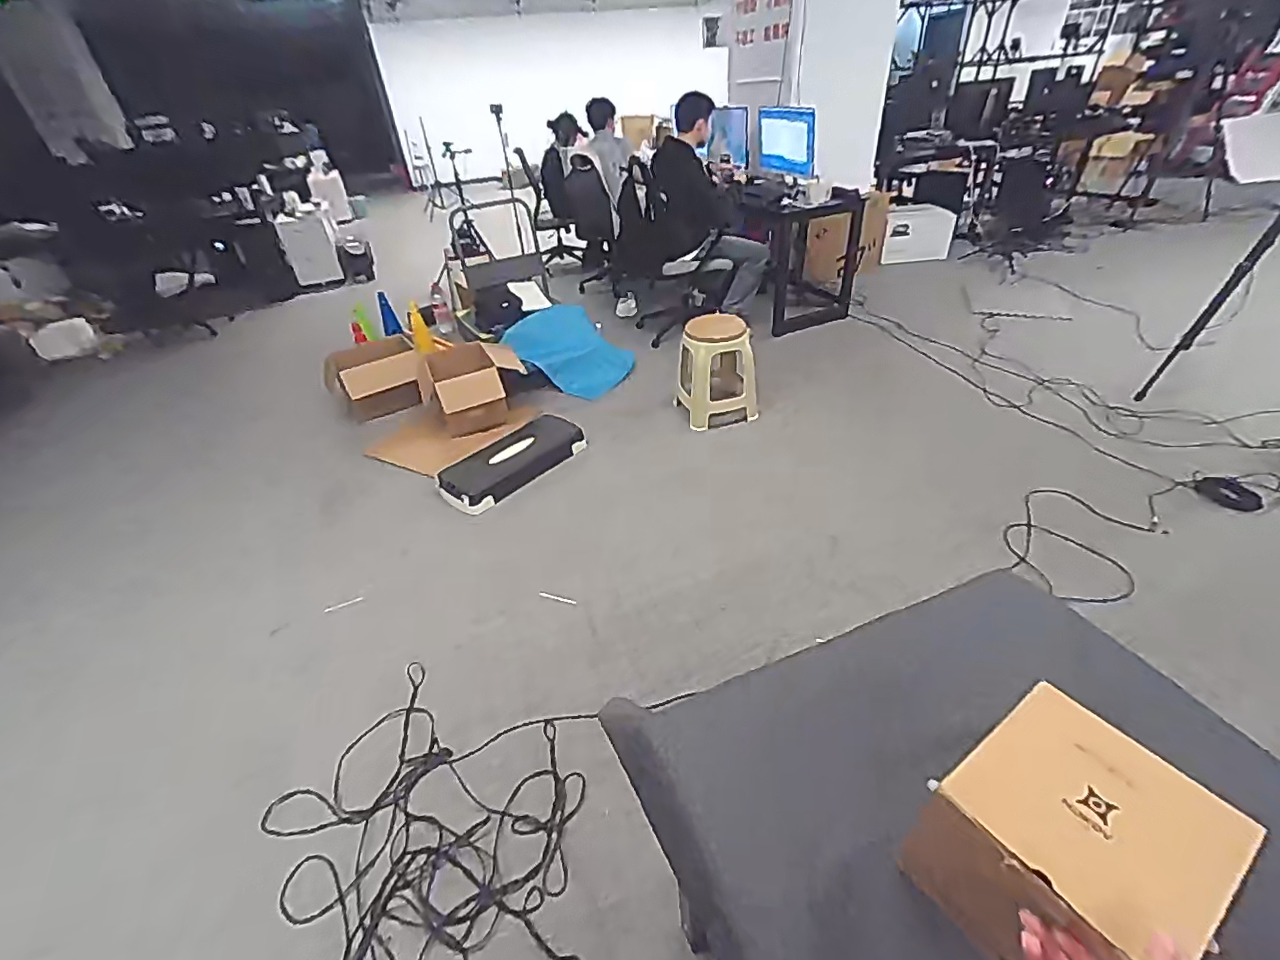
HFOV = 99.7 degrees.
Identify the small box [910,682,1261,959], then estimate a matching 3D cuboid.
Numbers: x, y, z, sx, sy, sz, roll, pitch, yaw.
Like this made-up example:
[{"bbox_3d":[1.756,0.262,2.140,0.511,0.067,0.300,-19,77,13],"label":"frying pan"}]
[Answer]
[{"bbox_3d":[0.372,0.330,0.486,0.179,0.176,0.168,-24,41,-26],"label":"small box"}]
